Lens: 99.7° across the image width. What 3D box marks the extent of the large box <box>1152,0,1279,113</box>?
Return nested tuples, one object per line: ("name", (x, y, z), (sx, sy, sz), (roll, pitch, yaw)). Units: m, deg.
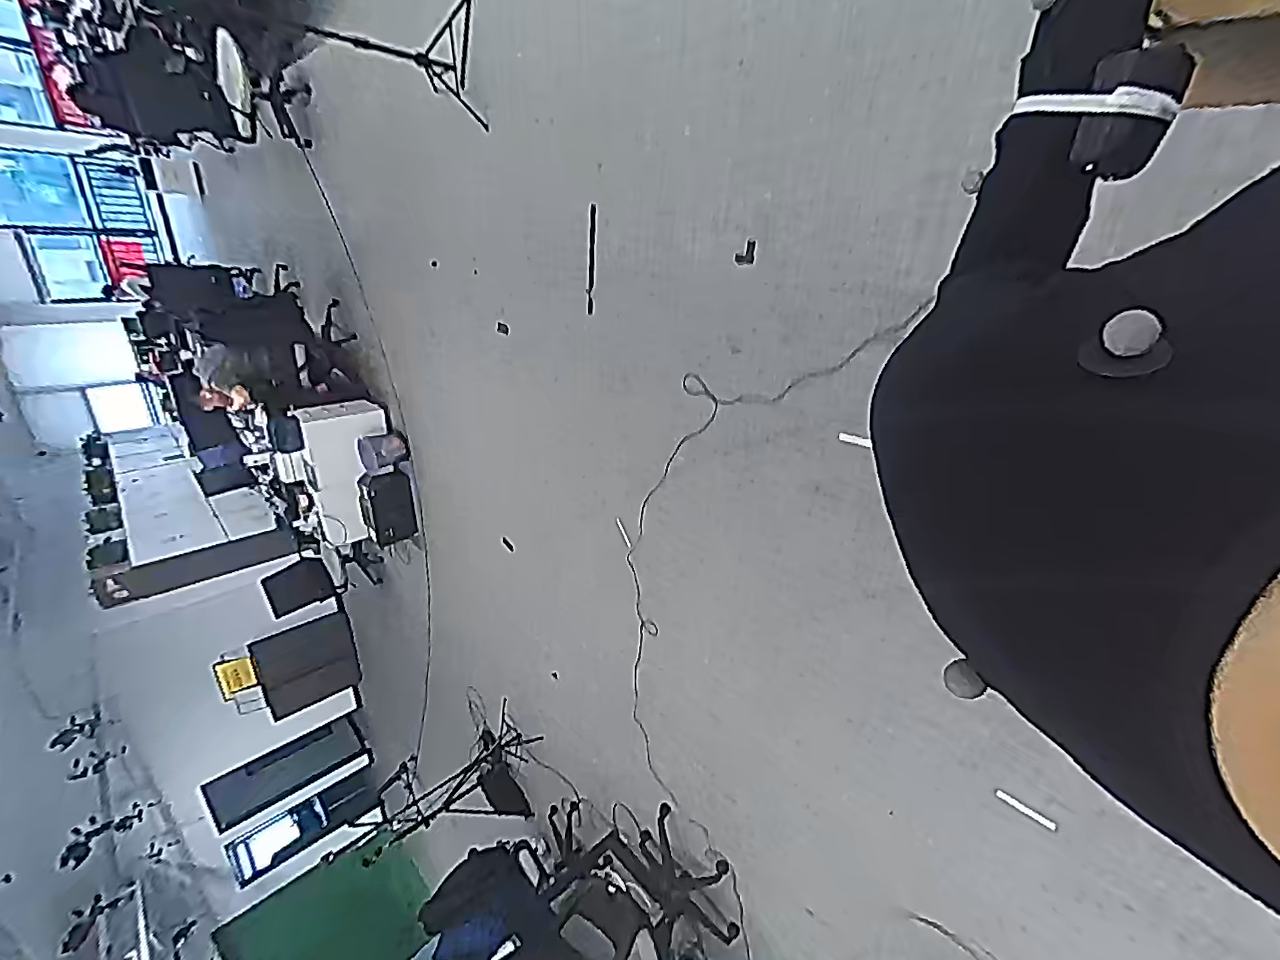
("large box", (0.566, -0.403, 0.259), (0.408, 0.320, 0.320), (22, 123, 36))
